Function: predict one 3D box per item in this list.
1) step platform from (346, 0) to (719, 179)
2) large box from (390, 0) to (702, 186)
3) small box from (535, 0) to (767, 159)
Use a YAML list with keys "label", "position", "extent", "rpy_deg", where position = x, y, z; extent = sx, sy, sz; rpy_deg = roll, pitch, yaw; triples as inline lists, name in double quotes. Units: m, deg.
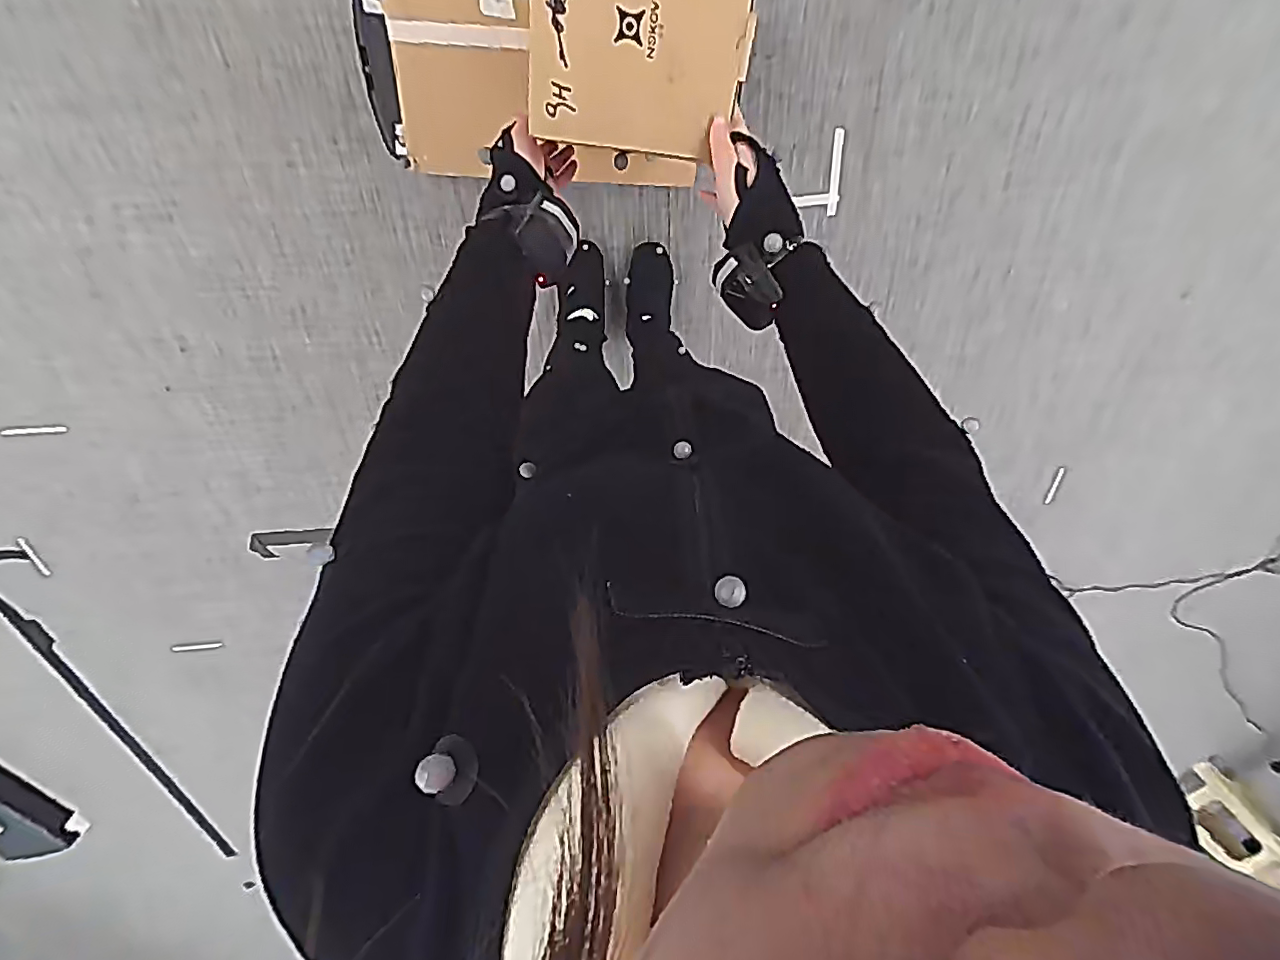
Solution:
- label: "step platform"
  position: [-0.163, -0.753, 1.014]
  extent: [0.684, 0.204, 0.286]
  rpy_deg: [2, 121, -6]
- label: "large box"
  position: [-0.116, -0.633, 0.812]
  extent: [0.408, 0.320, 0.320]
  rpy_deg: [0, 121, -5]
- label: "small box"
  position: [0.001, -0.395, 0.485]
  extent: [0.179, 0.176, 0.168]
  rpy_deg: [3, 120, -8]
